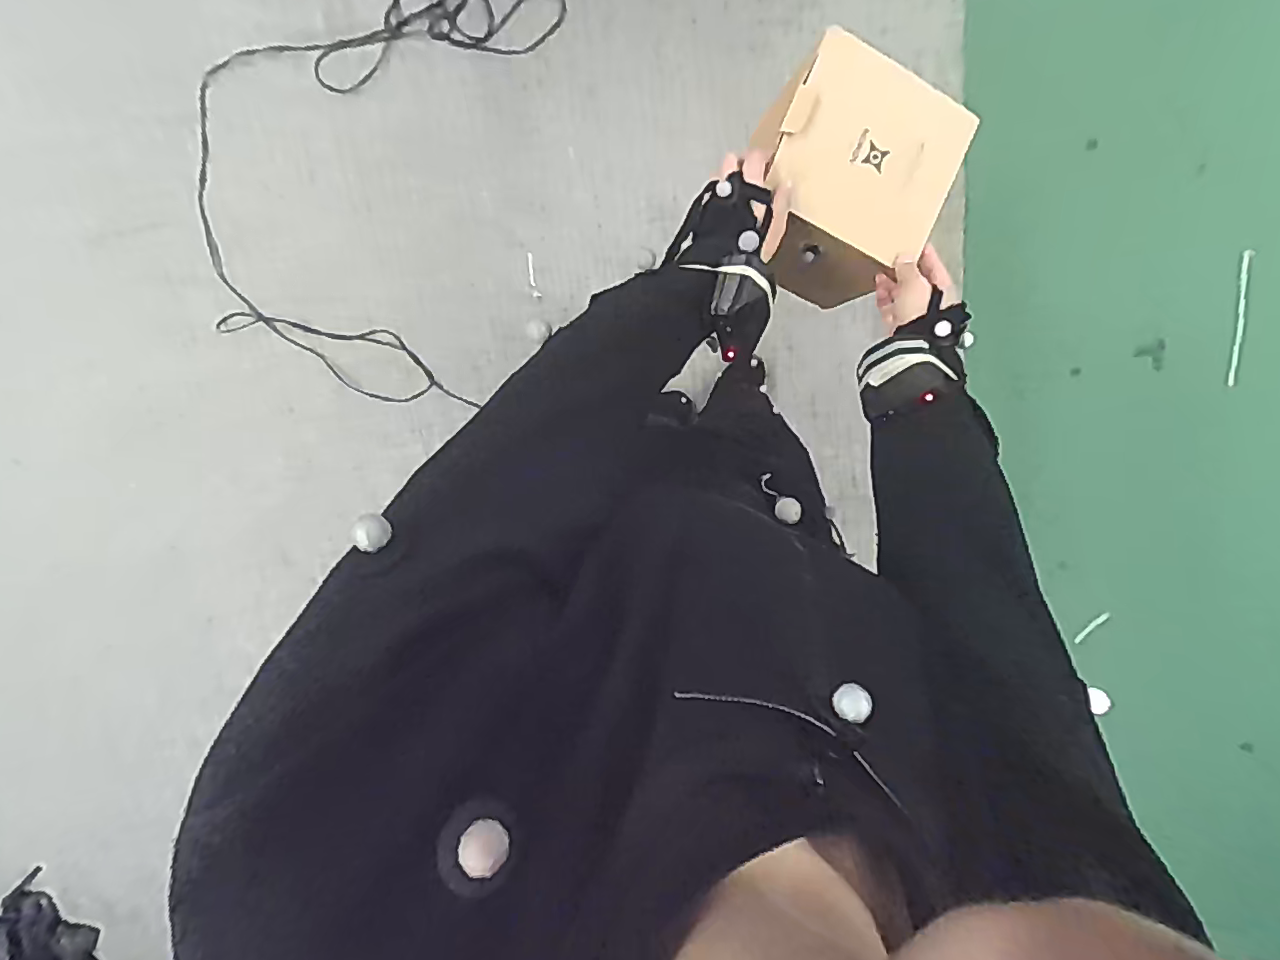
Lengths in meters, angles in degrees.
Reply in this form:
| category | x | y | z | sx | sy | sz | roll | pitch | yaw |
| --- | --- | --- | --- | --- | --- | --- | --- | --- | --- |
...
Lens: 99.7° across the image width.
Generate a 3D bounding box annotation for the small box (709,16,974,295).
| category | x | y | z | sx | sy | sz | roll | pitch | yaw |
| --- | --- | --- | --- | --- | --- | --- | --- | --- | --- |
| small box | 0.196 | -0.318 | 0.578 | 0.179 | 0.176 | 0.168 | 22 | 94 | -12 |
